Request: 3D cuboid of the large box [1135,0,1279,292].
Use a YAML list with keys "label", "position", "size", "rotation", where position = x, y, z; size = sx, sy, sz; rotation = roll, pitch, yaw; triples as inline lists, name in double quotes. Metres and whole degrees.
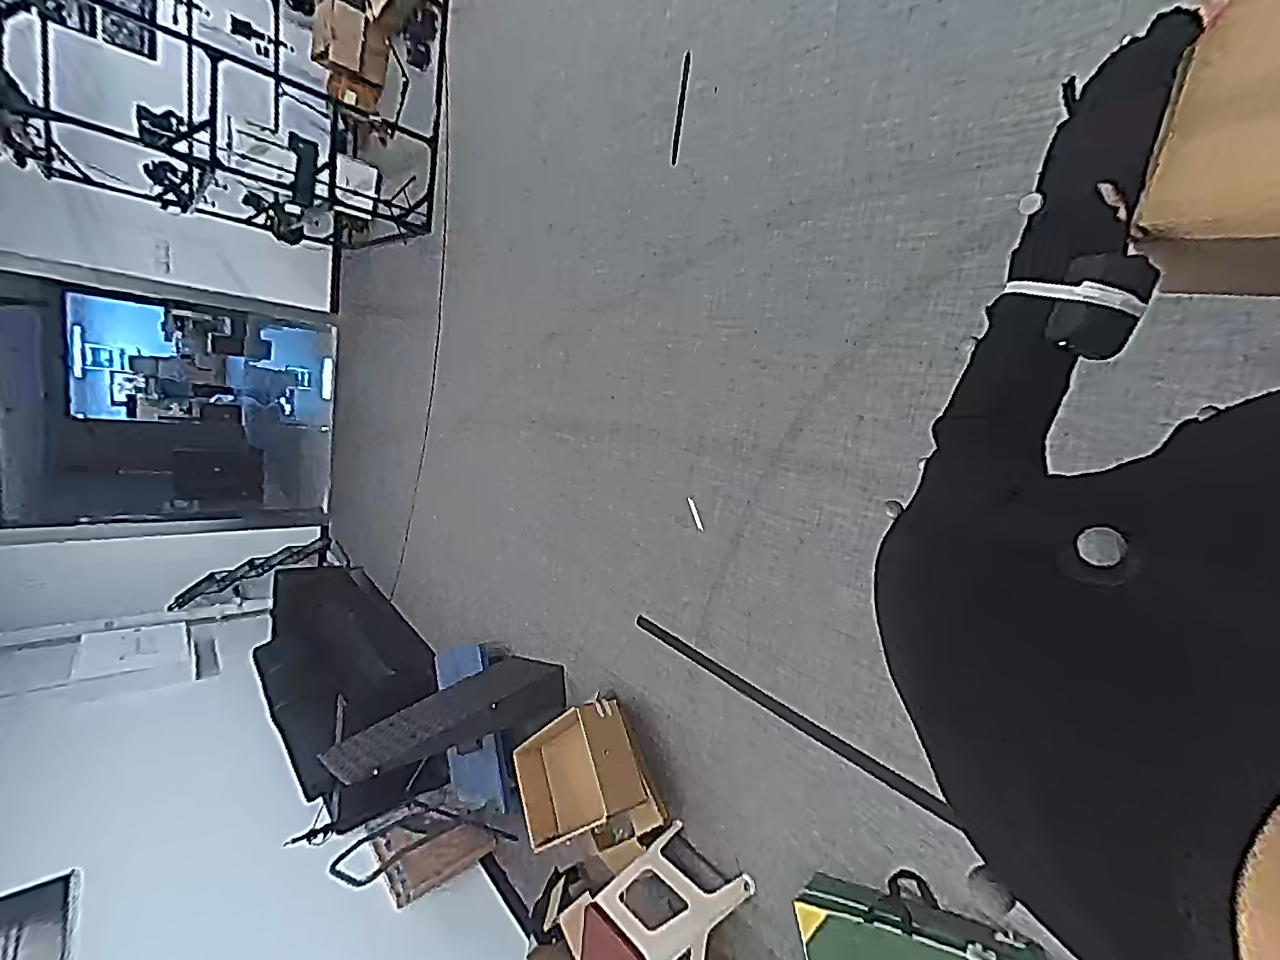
- label: "large box"
  position: [0.623, -0.296, 0.333]
  size: [0.408, 0.320, 0.320]
  rotation: [21, 112, 43]
